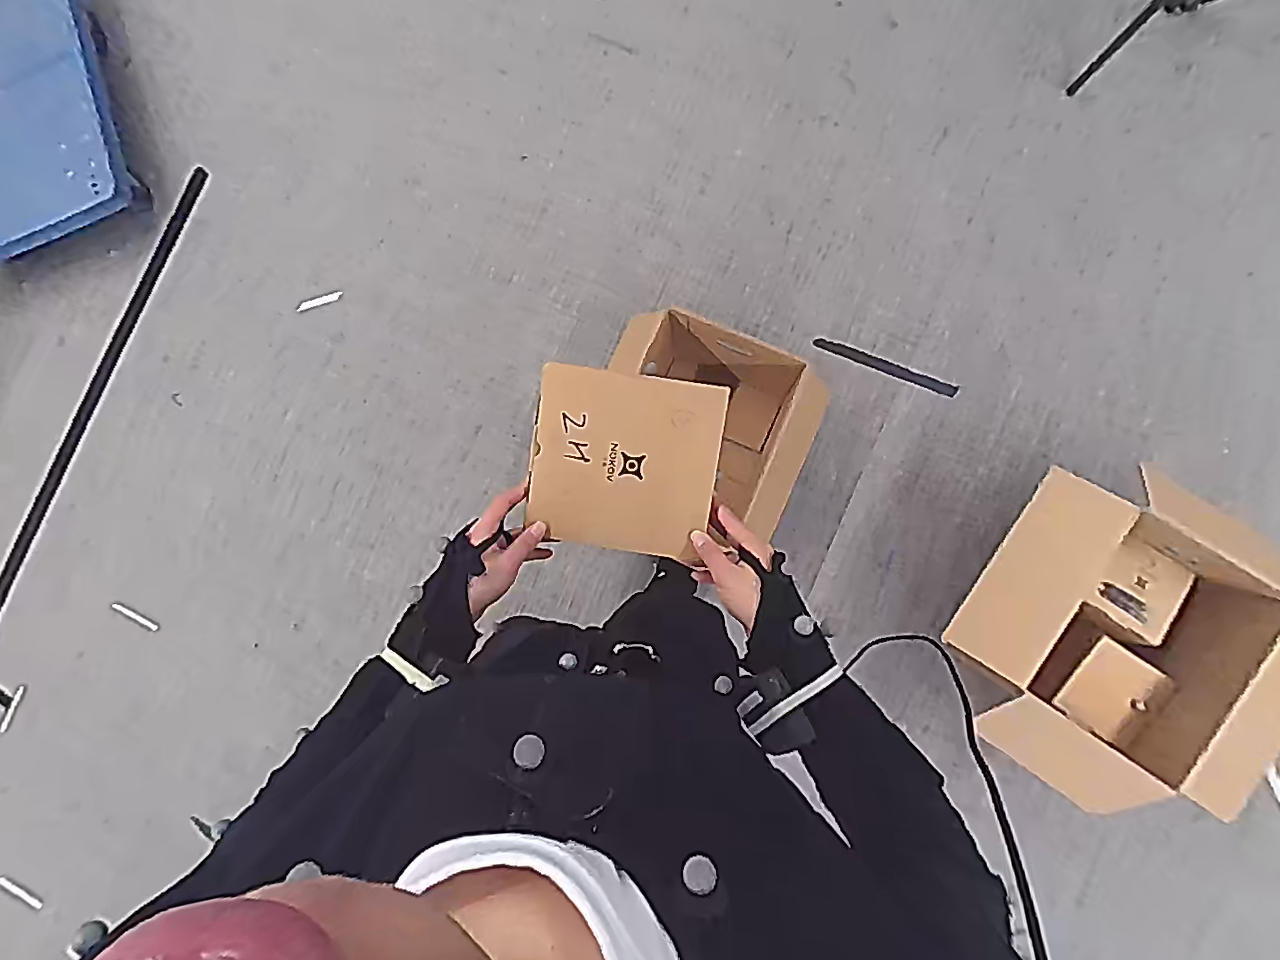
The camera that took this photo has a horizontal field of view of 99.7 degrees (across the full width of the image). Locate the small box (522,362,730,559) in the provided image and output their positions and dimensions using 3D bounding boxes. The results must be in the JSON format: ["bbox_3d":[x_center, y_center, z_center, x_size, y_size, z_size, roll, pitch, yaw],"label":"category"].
[{"bbox_3d":[-0.012,-0.028,0.584,0.179,0.176,0.168,9,98,2],"label":"small box"}]
